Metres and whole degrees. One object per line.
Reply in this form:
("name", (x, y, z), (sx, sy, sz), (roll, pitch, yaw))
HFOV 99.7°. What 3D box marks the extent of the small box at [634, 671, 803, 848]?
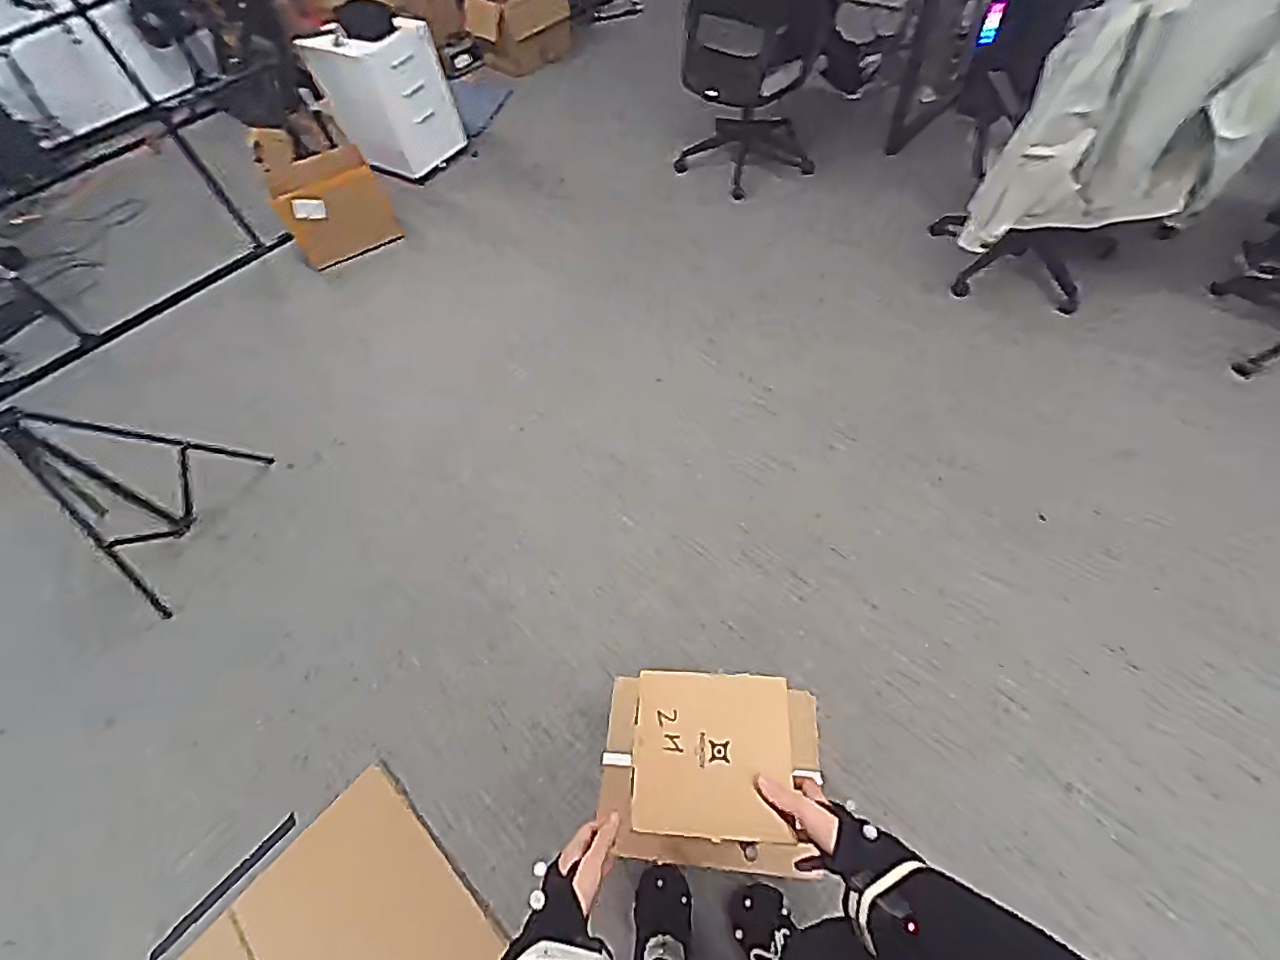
("small box", (0.093, 0.342, 0.664), (0.179, 0.176, 0.168), (0, 58, 7))
